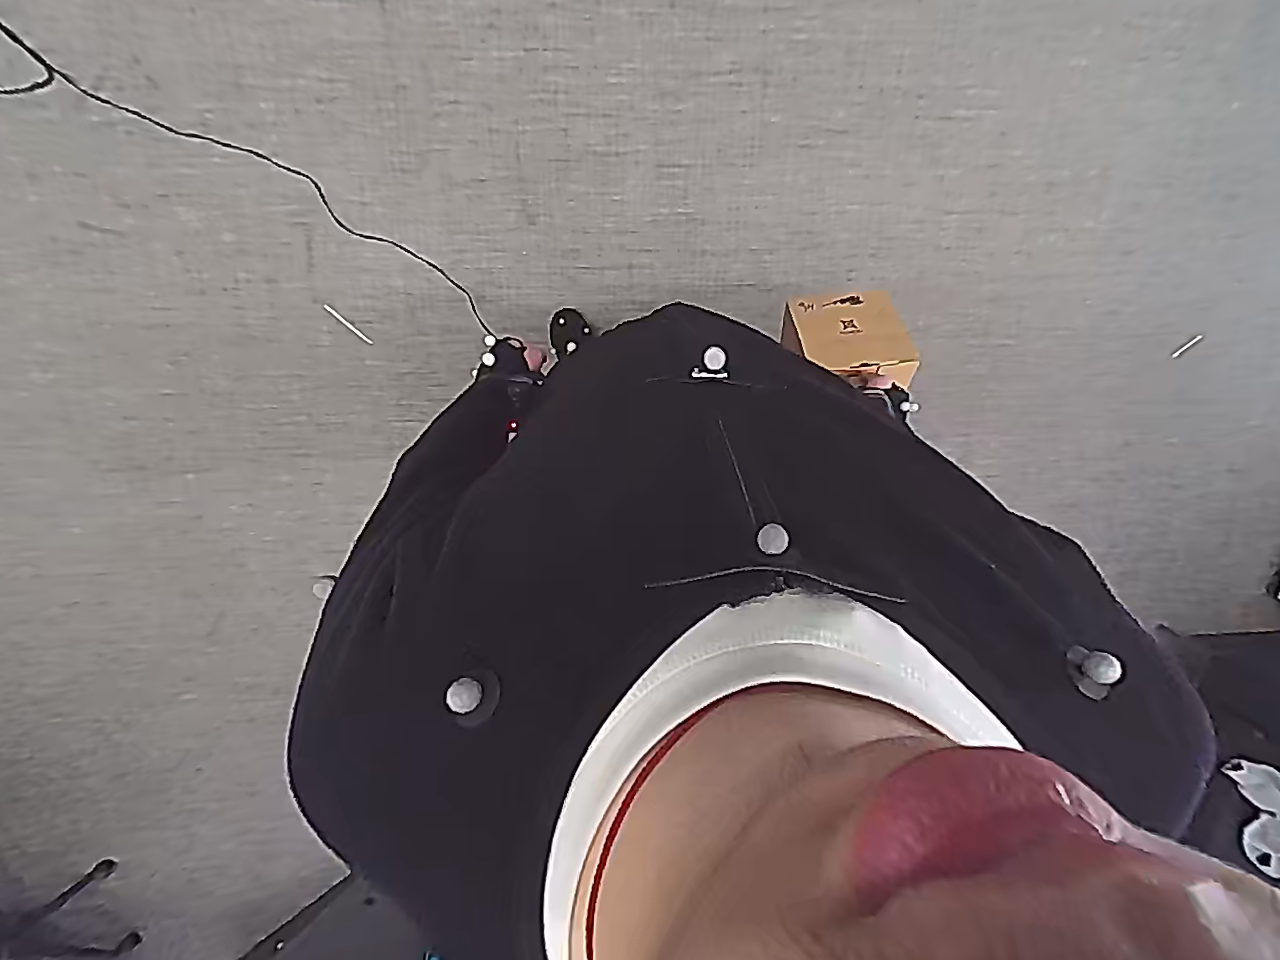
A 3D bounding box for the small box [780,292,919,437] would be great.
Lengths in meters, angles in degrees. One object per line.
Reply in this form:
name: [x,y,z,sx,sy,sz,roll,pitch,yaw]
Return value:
small box: [0.345,-0.188,0.927,0.168,0.179,0.176,-8,144,3]
